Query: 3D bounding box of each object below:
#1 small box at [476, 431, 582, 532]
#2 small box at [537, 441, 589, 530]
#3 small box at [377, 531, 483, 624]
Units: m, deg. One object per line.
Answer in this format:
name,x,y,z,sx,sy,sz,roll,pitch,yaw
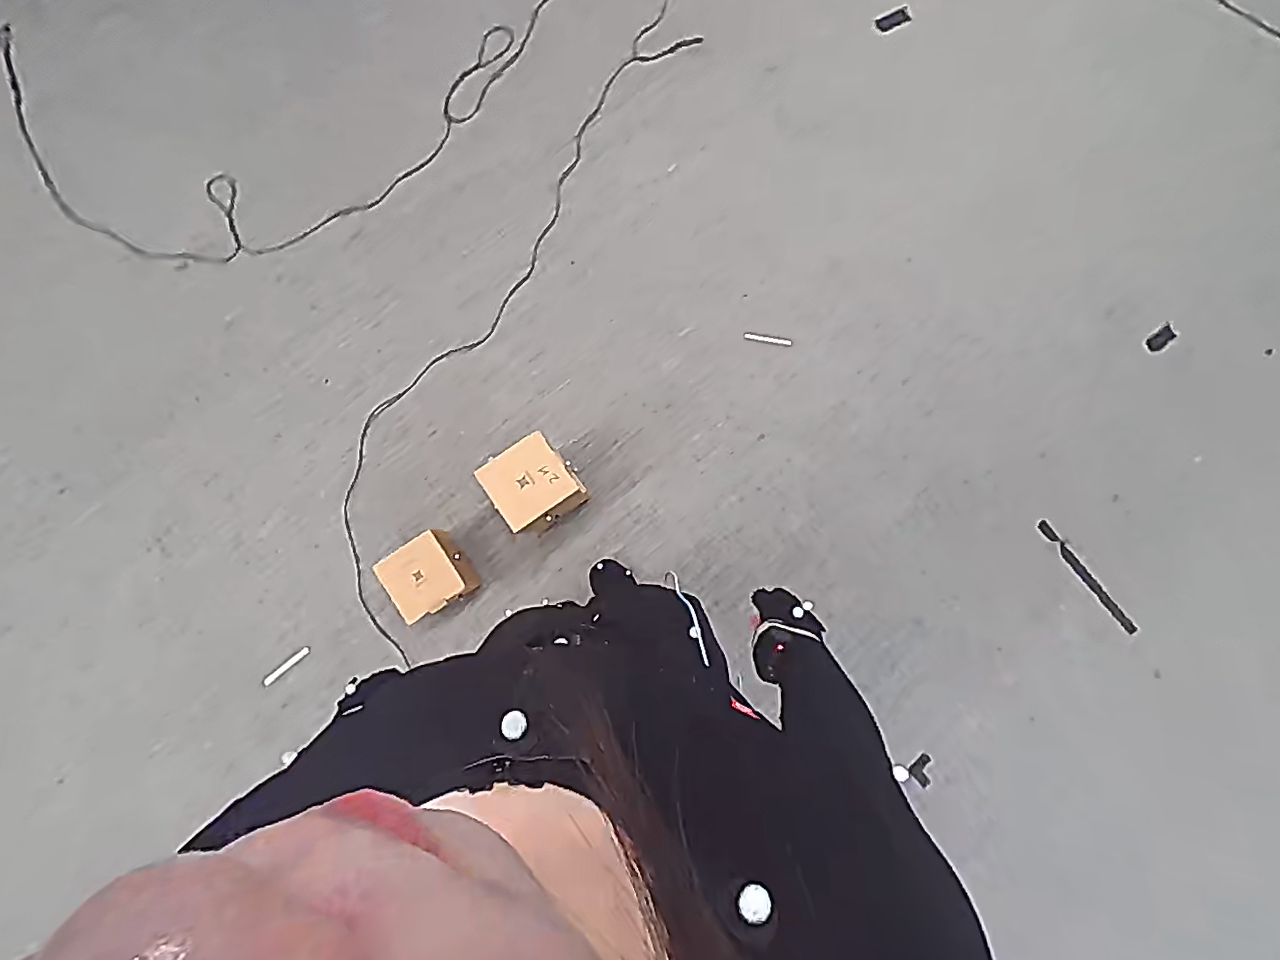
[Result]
small box,-0.251,0.012,1.275,0.179,0.176,0.168,-35,86,-6
small box,-0.251,0.023,1.441,0.179,0.176,0.168,-37,87,-5
small box,-0.535,0.245,1.407,0.168,0.176,0.179,-34,86,-6
